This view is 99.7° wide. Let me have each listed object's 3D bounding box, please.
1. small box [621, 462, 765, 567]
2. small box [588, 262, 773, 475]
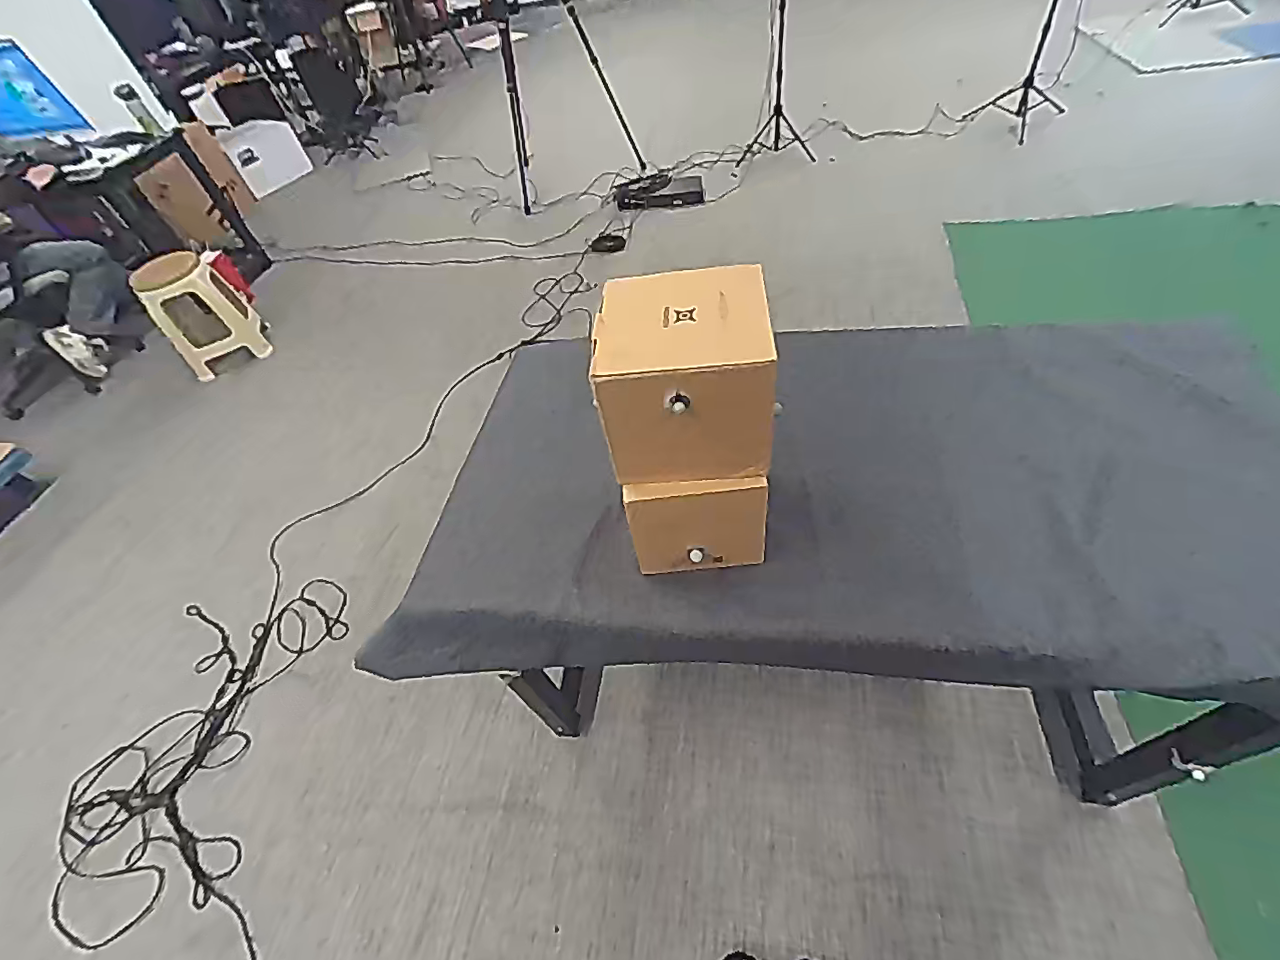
[{"bbox_3d":[0.067,-0.004,0.724,0.168,0.176,0.179,-7,51,5],"label":"small box"},{"bbox_3d":[0.050,-0.118,0.608,0.179,0.176,0.168,-3,52,7],"label":"small box"}]
